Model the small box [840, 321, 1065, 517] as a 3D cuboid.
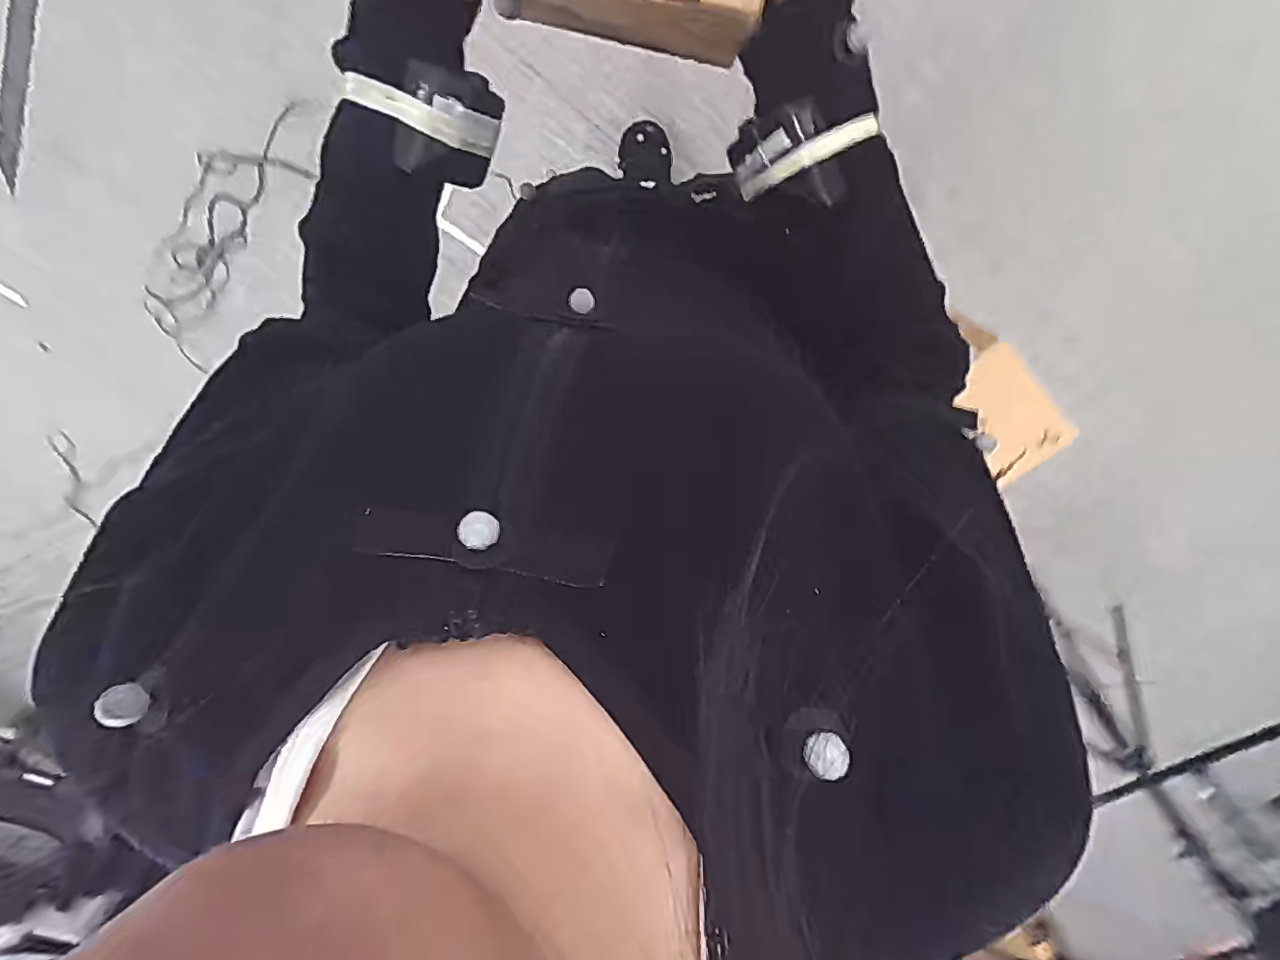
[{"bbox_3d":[0.398,-0.091,0.722,0.179,0.176,0.168,40,115,-18],"label":"small box"}]
